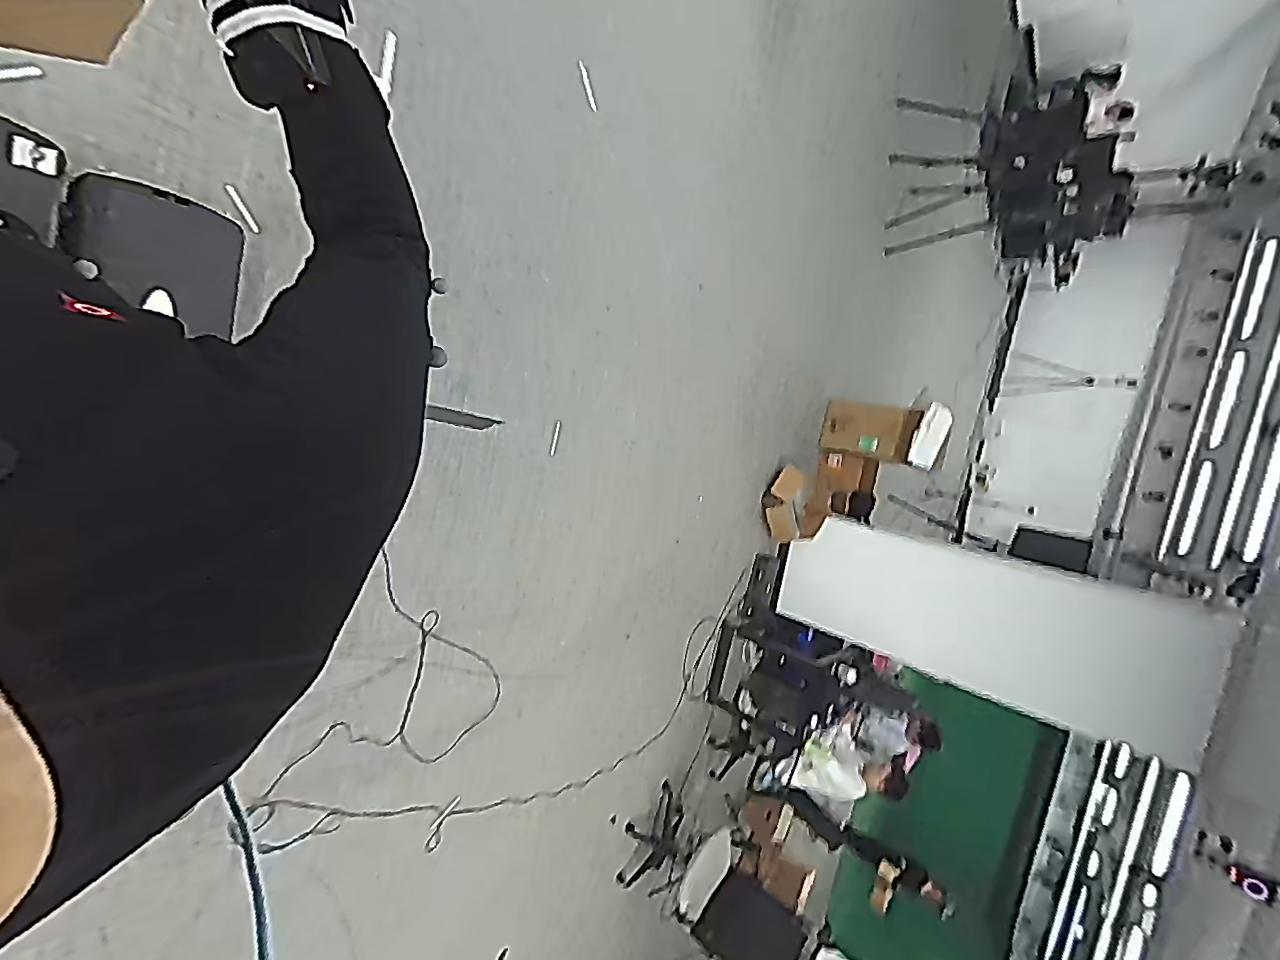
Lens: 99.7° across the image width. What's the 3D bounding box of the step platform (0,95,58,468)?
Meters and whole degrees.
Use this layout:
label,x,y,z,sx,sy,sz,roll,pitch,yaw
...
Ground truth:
label,x,y,z,sx,sy,sz,roll,pitch,yaw
step platform,-1.254,-0.355,0.944,0.286,0.204,0.684,4,97,-51
